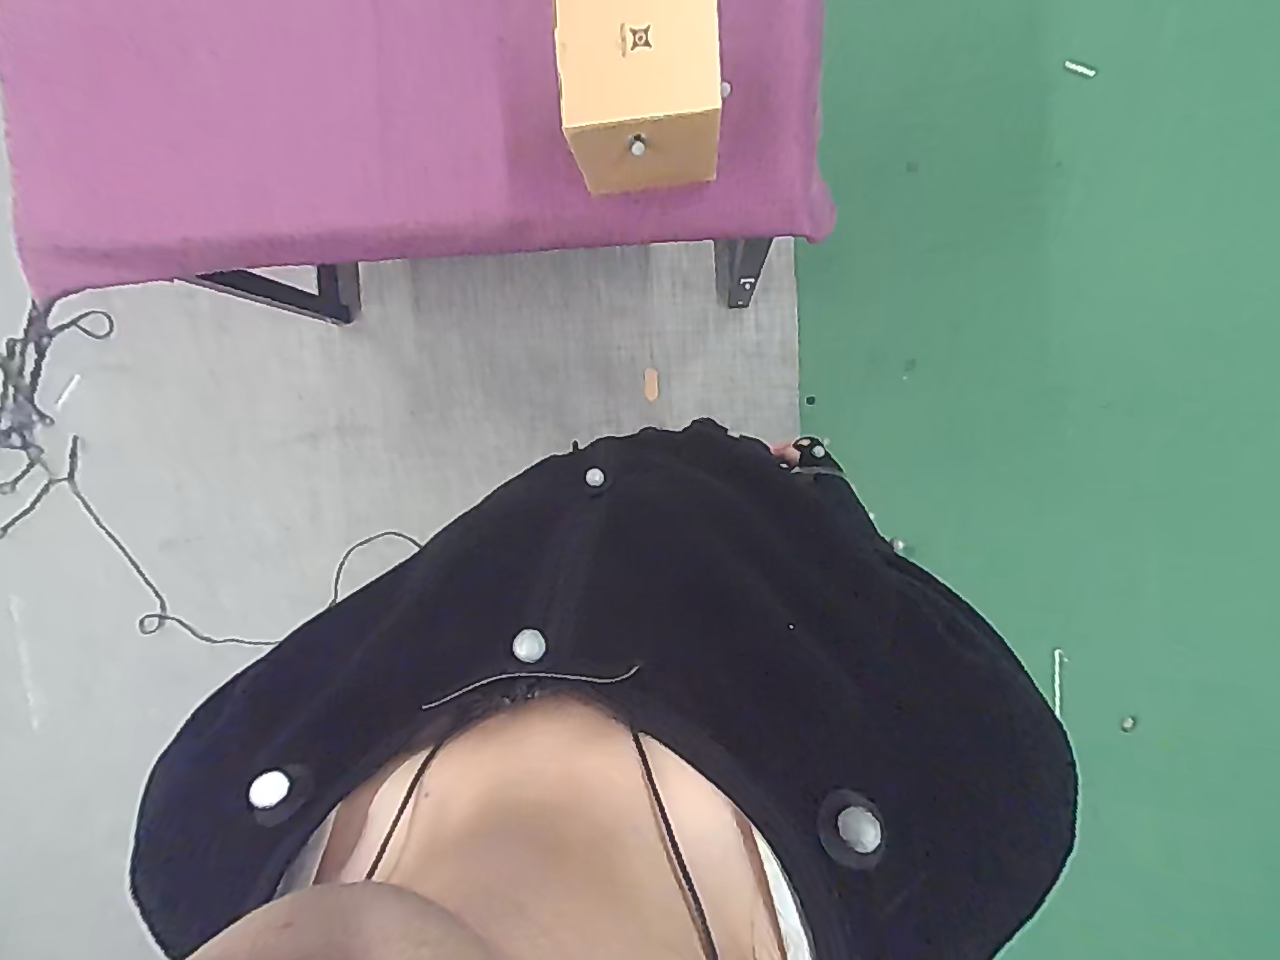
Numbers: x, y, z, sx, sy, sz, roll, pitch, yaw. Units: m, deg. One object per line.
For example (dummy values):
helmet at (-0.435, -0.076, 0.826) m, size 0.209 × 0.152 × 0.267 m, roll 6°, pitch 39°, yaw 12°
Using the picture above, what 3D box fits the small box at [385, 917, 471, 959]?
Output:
small box at (-0.557, 1.297, 1.414) m, size 0.168 × 0.176 × 0.179 m, roll -7°, pitch 94°, yaw 6°

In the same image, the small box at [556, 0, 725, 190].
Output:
small box at (0.009, -0.477, 0.656) m, size 0.179 × 0.176 × 0.168 m, roll -3°, pitch 96°, yaw 9°
